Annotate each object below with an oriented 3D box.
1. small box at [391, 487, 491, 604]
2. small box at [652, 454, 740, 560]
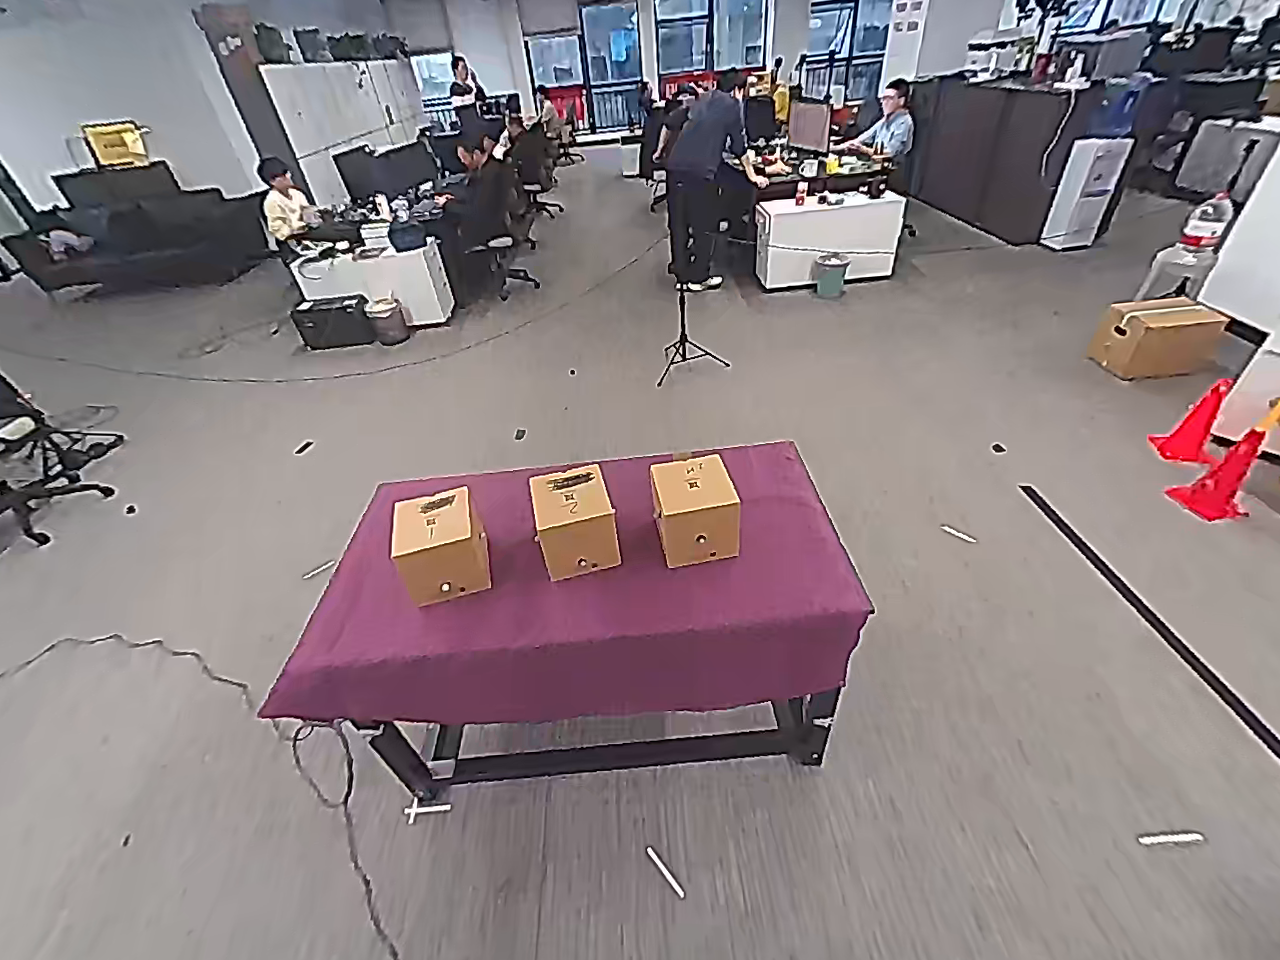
[{"bbox_3d":[-0.442,0.147,1.220,0.168,0.176,0.179,-14,40,-9],"label":"small box"},{"bbox_3d":[0.126,0.067,1.235,0.168,0.176,0.179,-9,38,-4],"label":"small box"}]
